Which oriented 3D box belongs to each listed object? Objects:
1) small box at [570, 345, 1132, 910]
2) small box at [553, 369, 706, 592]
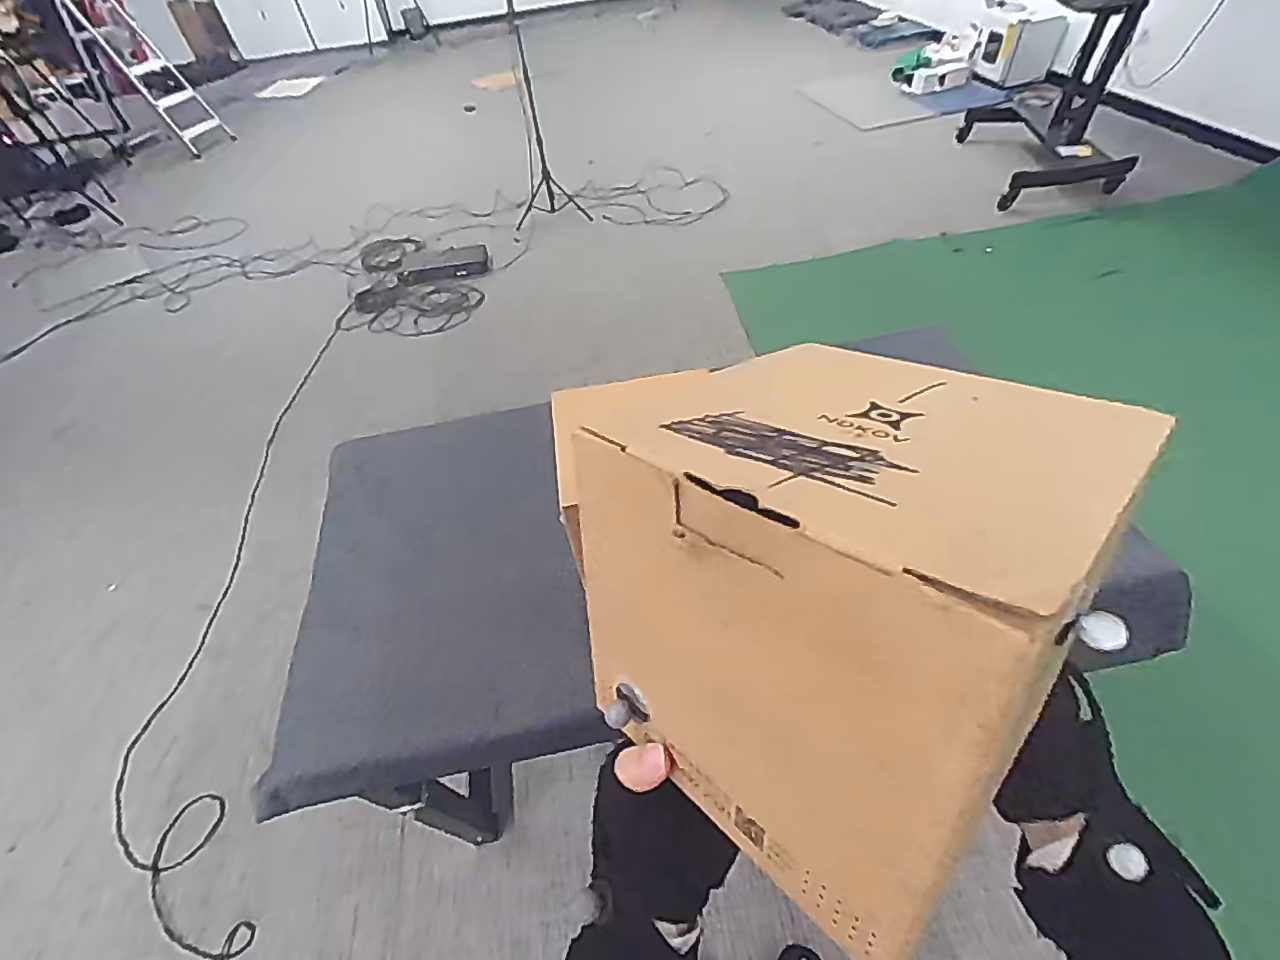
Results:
[{"bbox_3d":[0.088,0.046,0.264,0.179,0.176,0.168,-24,36,-36],"label":"small box"},{"bbox_3d":[0.008,0.004,0.601,0.179,0.176,0.168,-11,47,-2],"label":"small box"}]
